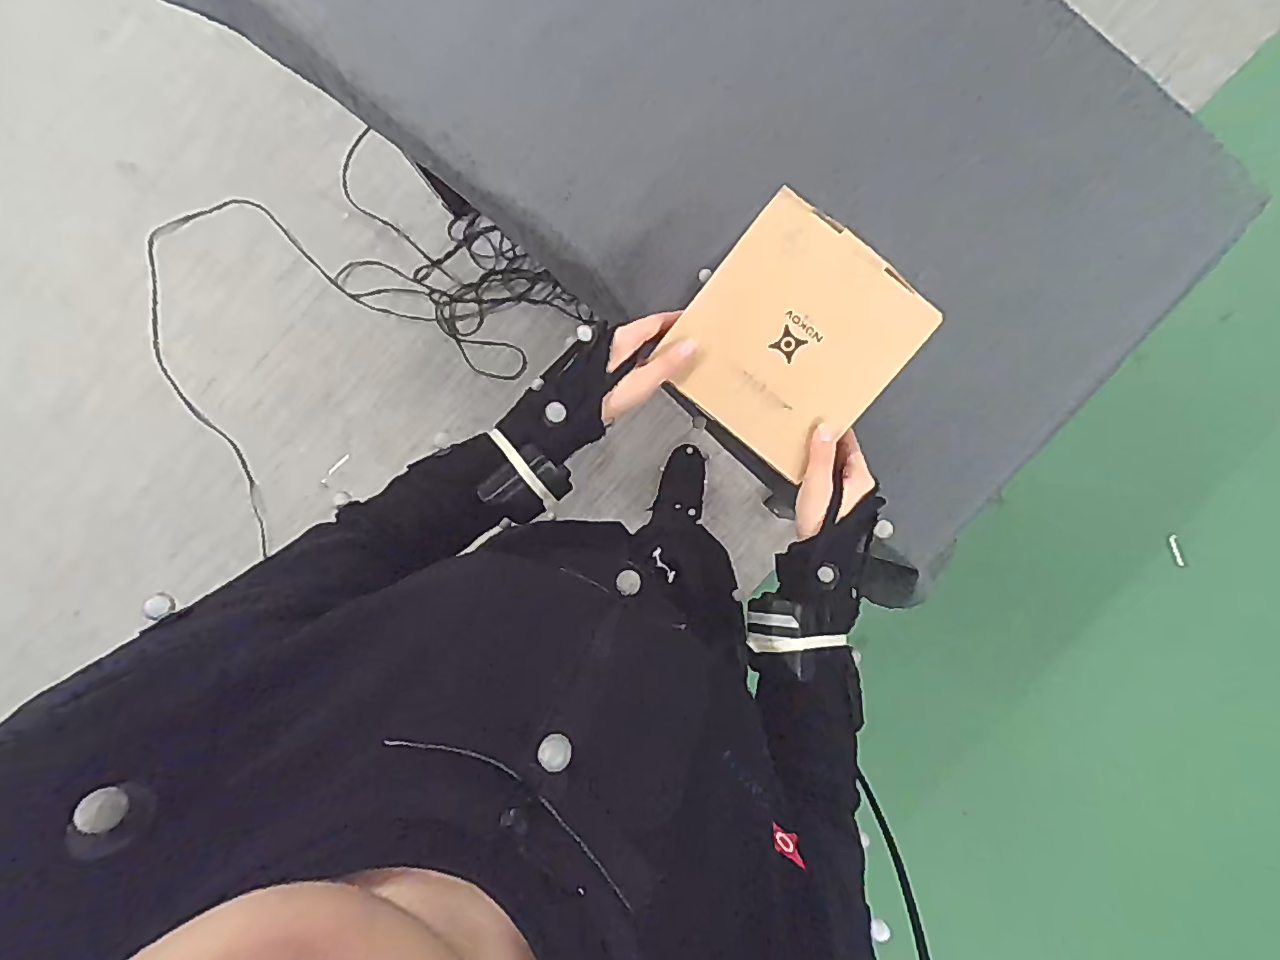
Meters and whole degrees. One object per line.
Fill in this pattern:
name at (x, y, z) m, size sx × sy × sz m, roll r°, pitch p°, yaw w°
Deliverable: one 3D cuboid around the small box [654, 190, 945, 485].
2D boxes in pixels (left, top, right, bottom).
small box at (0.131, -0.122, 0.512) m, size 0.168 × 0.176 × 0.179 m, roll 38°, pitch 100°, yaw 0°
